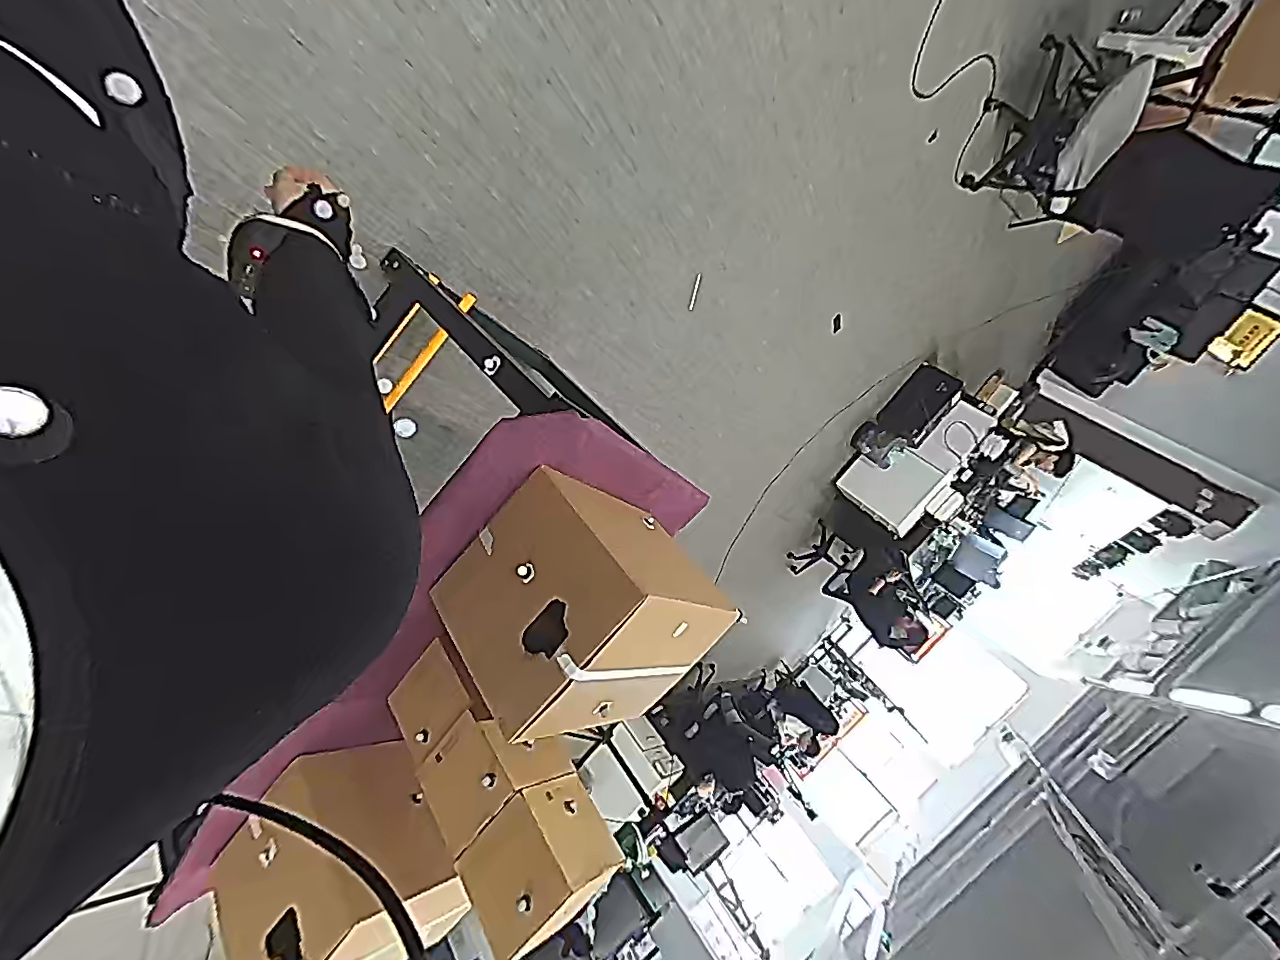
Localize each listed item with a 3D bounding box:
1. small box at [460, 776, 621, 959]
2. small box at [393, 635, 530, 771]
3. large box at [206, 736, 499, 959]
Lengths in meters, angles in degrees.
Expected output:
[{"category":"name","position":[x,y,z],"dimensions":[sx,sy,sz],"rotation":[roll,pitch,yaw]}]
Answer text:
[{"category":"small box","position":[-0.171,0.631,0.895],"dimensions":[0.179,0.176,0.168],"rotation":[-49,148,5]},{"category":"small box","position":[-0.361,0.434,1.074],"dimensions":[0.179,0.176,0.168],"rotation":[-50,148,7]},{"category":"large box","position":[-0.548,0.755,1.092],"dimensions":[0.320,0.320,0.408],"rotation":[-49,149,7]}]
